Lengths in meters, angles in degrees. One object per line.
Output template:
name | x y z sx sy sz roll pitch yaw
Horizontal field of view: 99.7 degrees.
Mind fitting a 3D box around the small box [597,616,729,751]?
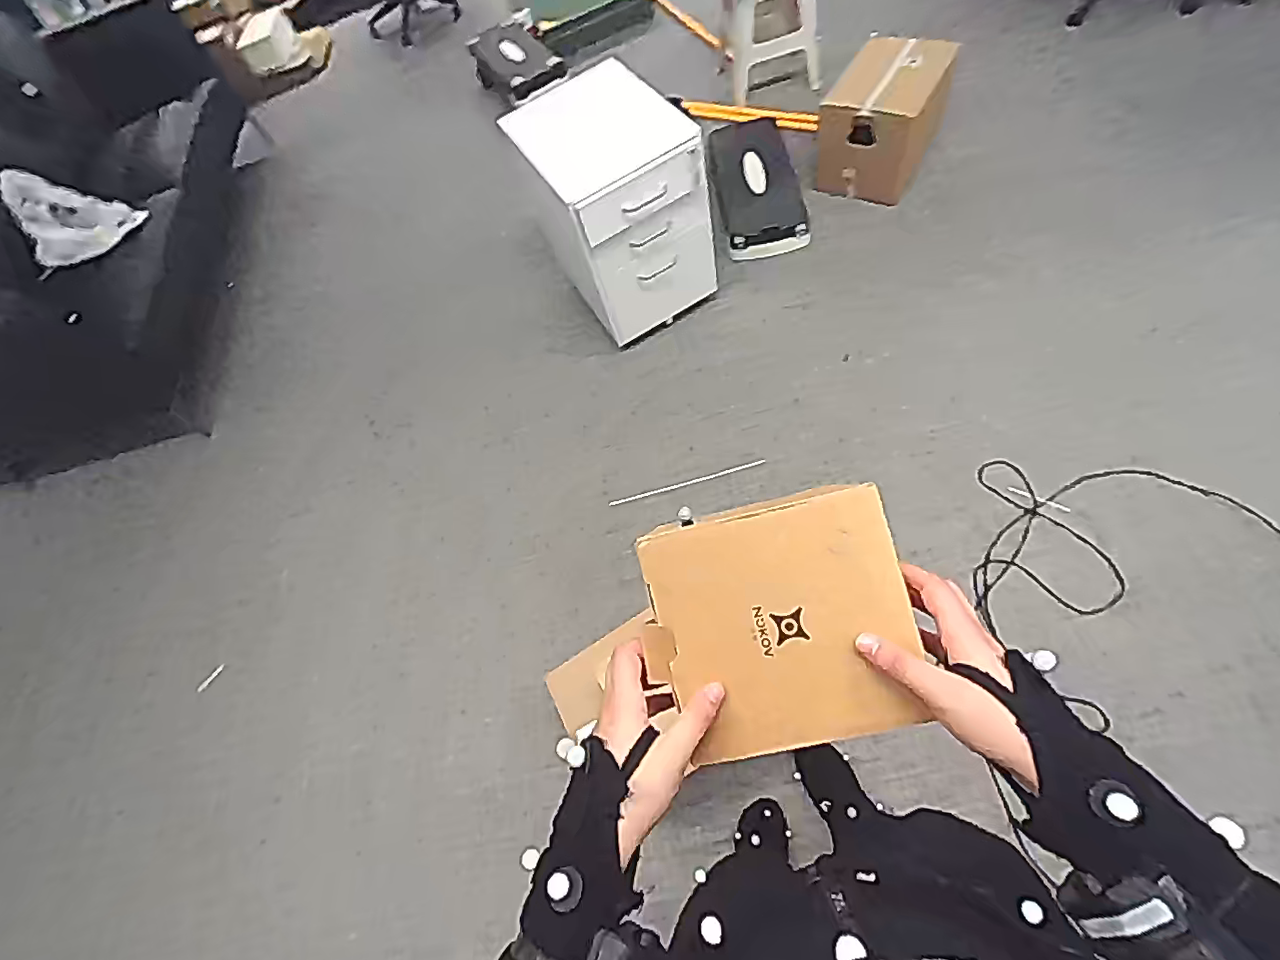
small box | 0.049 0.384 1.008 0.179 0.176 0.168 -32 62 -3
